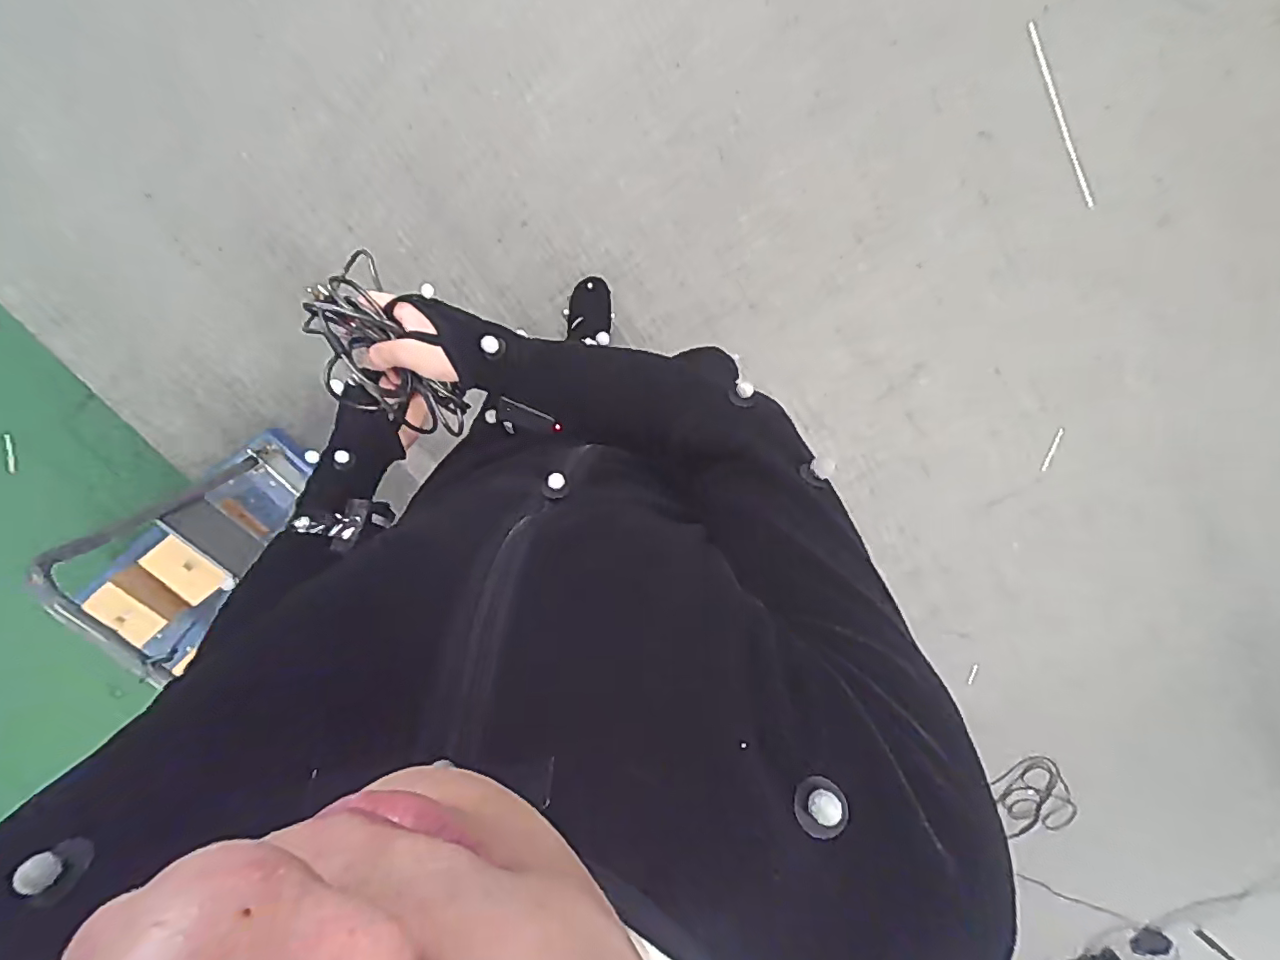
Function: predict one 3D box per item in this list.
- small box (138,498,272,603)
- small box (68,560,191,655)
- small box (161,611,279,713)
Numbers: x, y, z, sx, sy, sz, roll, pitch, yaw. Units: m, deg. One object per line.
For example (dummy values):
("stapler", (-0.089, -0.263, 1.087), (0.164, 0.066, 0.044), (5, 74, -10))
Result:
("small box", (-1.109, 0.176, 1.397), (0.179, 0.176, 0.168), (-35, 109, 9))
("small box", (-1.324, 0.321, 1.438), (0.179, 0.176, 0.168), (-38, 109, 10))
("small box", (-1.162, 0.504, 1.519), (0.179, 0.176, 0.168), (-40, 108, 11))
